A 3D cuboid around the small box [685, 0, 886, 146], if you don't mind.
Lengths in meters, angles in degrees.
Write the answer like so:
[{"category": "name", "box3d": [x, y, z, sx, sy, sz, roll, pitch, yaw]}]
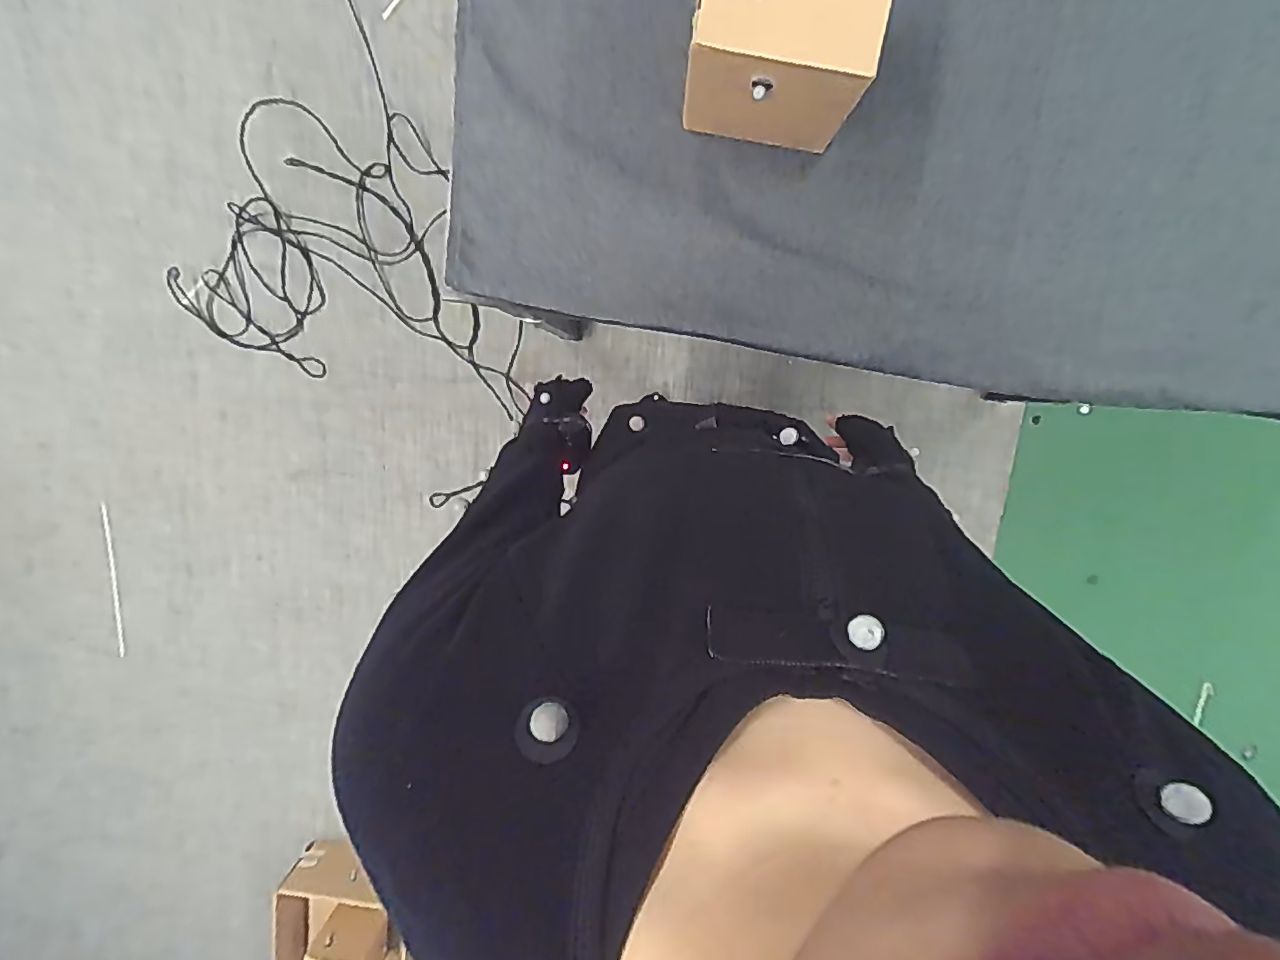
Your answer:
[{"category": "small box", "box3d": [0.148, -0.488, 0.577, 0.179, 0.176, 0.168, 10, 99, -1]}]
